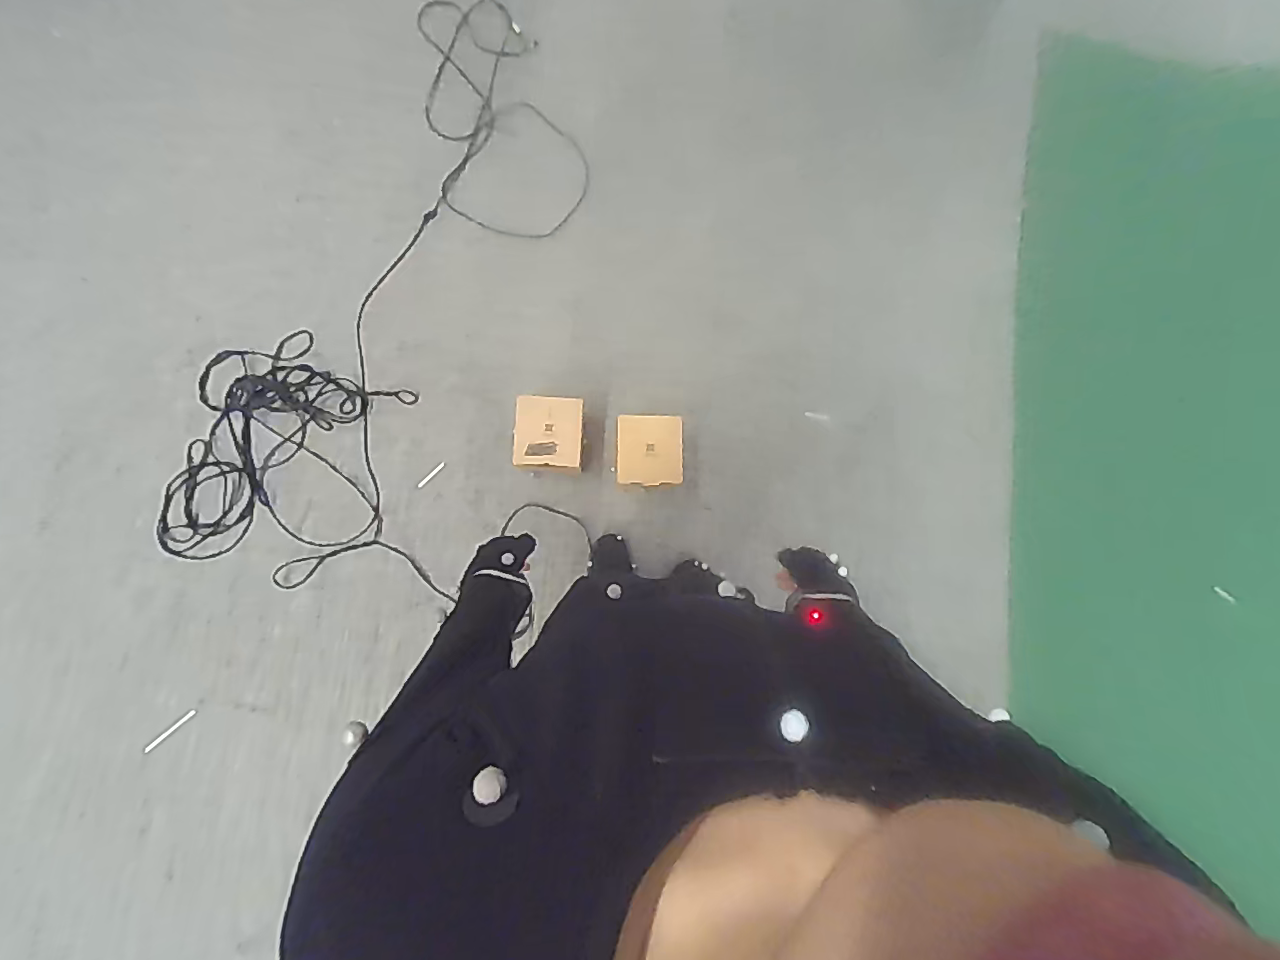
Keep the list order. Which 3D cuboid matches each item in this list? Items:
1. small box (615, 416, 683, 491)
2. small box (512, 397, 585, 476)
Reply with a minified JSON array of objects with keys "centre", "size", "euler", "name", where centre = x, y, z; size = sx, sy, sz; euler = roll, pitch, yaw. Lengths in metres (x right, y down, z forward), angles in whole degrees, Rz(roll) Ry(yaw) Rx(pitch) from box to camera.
[{"centre":[0.019,-0.065,1.423],"size":[0.168,0.176,0.179],"euler":[0,86,-5],"name":"small box"},{"centre":[-0.232,-0.107,1.403],"size":[0.168,0.176,0.179],"euler":[3,84,-5],"name":"small box"}]
